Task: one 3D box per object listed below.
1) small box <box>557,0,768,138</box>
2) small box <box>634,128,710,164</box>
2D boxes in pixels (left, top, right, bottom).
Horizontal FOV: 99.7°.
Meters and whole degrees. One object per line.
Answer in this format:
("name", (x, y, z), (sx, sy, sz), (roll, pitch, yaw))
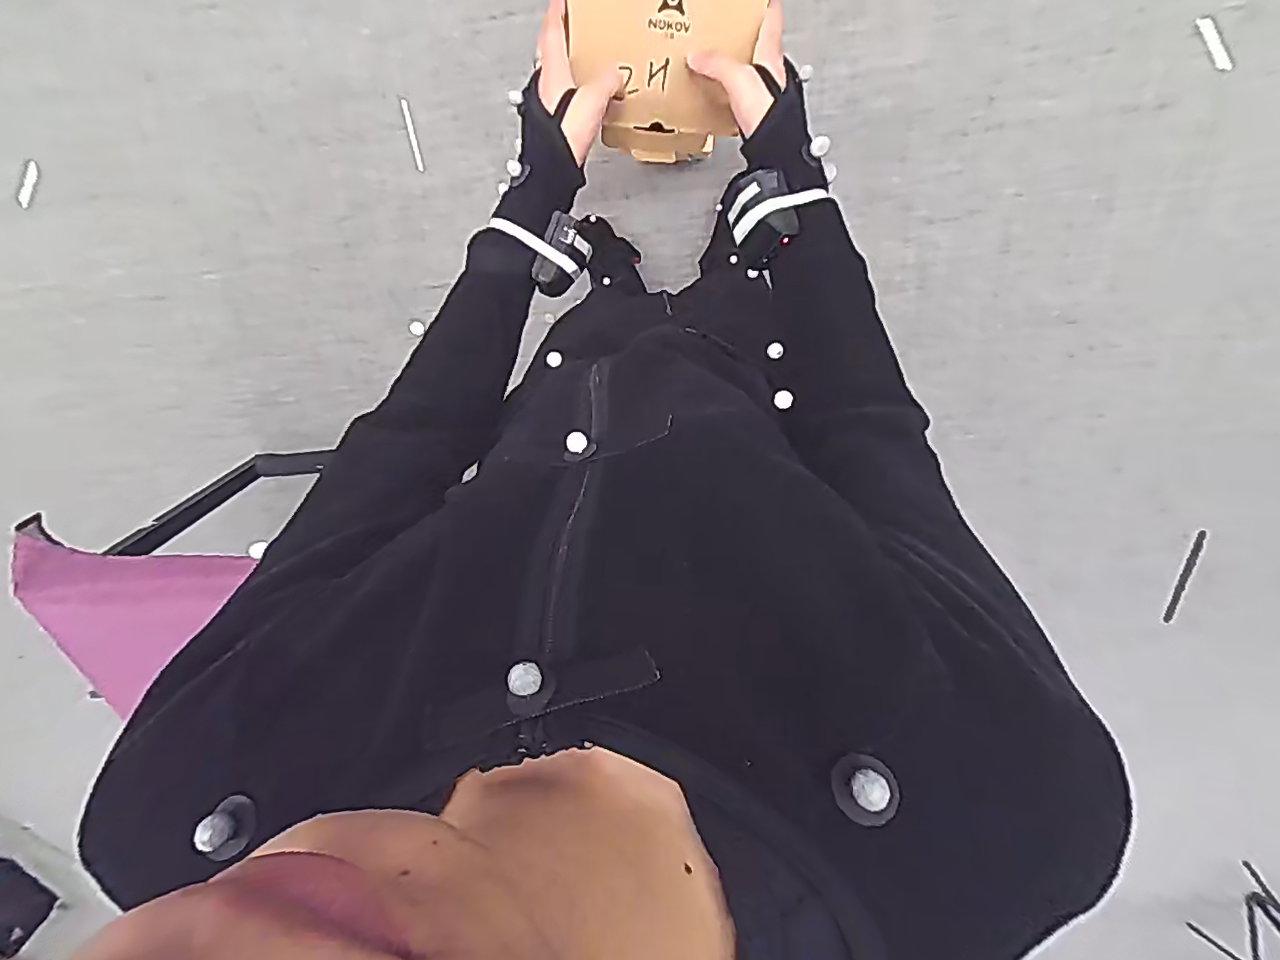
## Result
("small box", (0.011, -0.443, 0.495), (0.168, 0.176, 0.179), (-2, 137, -11))
("small box", (0.074, -0.817, 1.220), (0.168, 0.176, 0.179), (-1, 118, 4))
